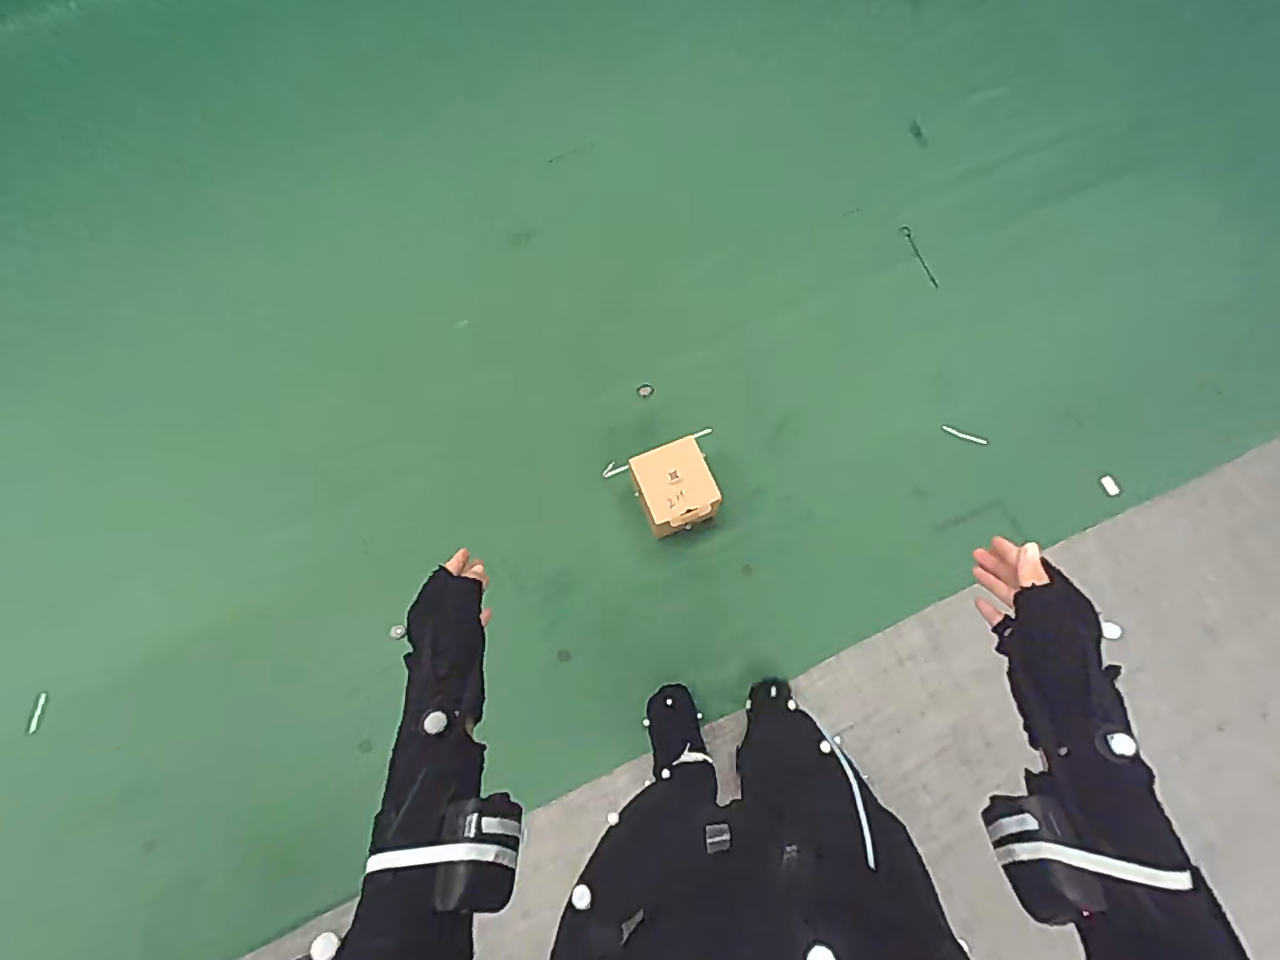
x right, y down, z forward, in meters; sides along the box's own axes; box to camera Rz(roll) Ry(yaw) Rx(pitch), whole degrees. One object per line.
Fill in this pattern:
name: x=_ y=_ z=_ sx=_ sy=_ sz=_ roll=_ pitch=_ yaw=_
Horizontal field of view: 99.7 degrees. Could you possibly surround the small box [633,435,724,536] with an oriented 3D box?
small box: x=0.089 y=0.019 z=1.330 sx=0.168 sy=0.176 sz=0.179 roll=-22 pitch=74 yaw=-5
